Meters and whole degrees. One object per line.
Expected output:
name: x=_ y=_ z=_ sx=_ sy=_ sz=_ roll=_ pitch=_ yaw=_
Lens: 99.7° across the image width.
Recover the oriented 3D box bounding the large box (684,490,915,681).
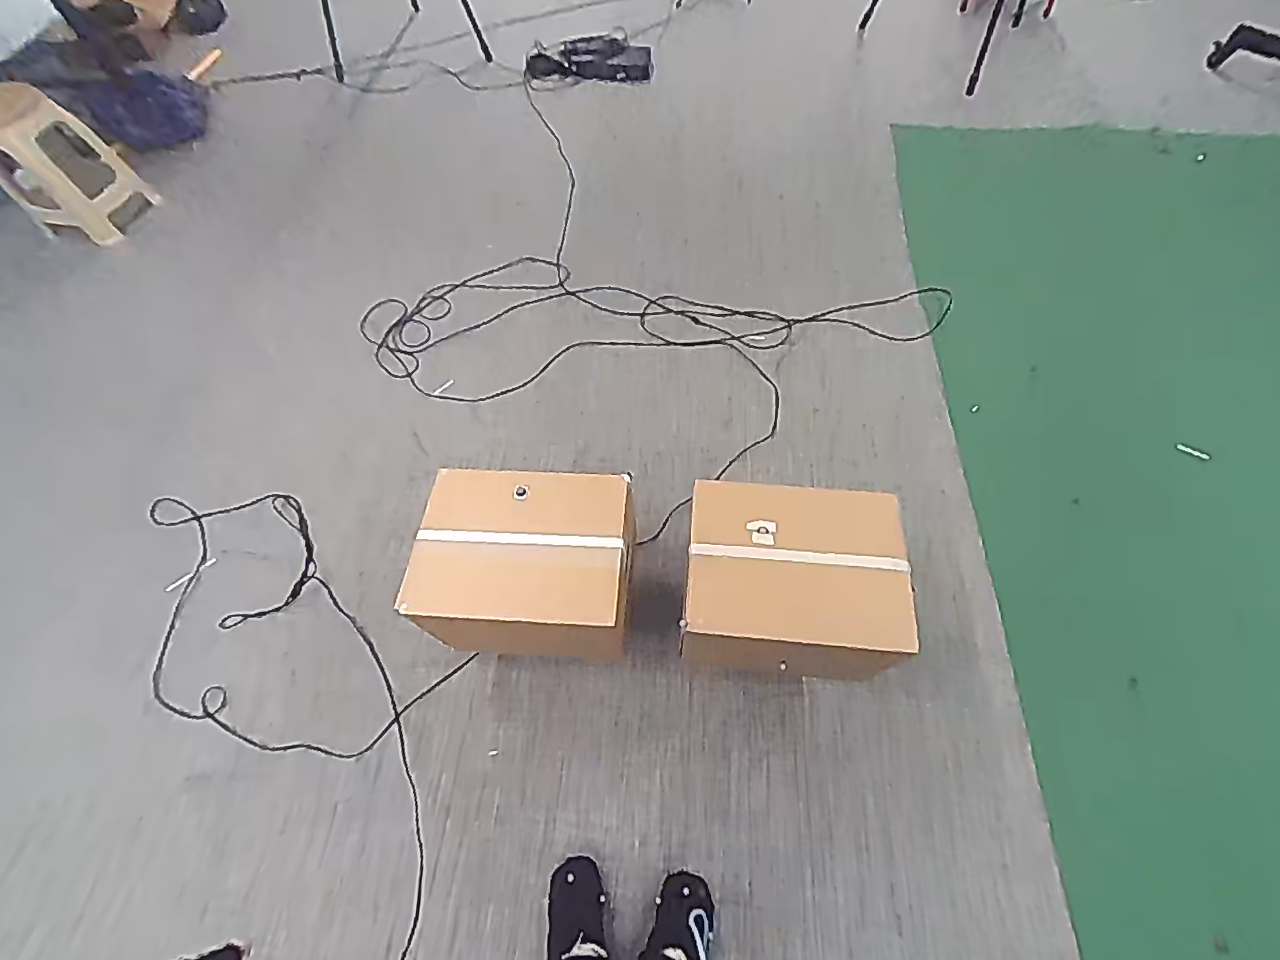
large box: x=0.308 y=0.236 z=1.159 sx=0.408 sy=0.320 sz=0.320 roll=4 pitch=61 yaw=5
